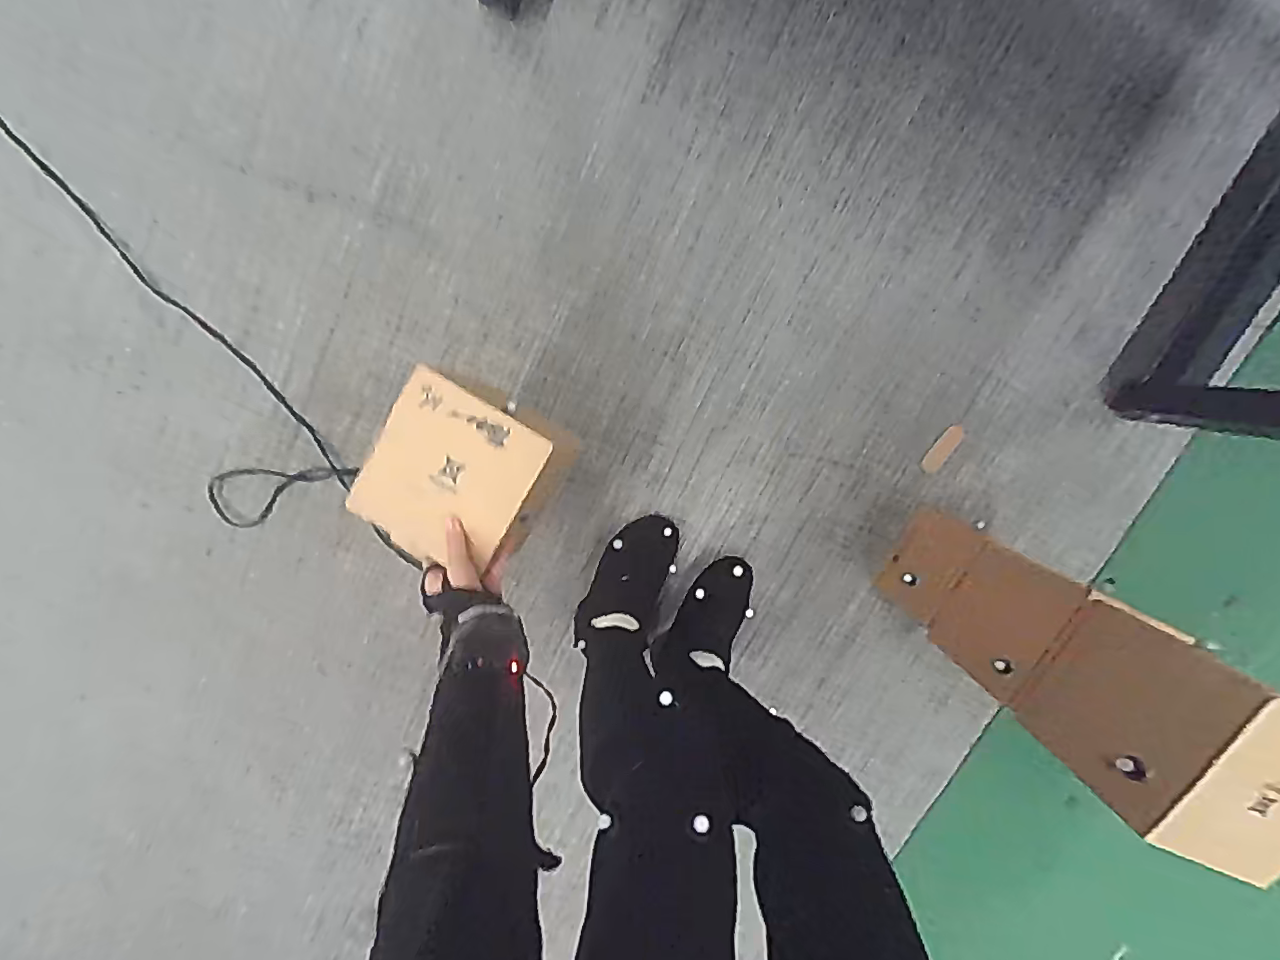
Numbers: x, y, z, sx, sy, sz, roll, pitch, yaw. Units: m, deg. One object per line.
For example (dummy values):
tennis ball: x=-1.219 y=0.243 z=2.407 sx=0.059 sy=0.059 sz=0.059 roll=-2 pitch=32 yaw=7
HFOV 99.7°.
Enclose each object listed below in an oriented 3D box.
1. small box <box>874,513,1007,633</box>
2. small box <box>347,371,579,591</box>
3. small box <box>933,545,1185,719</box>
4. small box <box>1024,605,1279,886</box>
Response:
small box: x=0.523 y=0.170 z=0.882 sx=0.179 sy=0.176 sz=0.168 roll=27 pitch=100 yaw=-11
small box: x=-0.189 y=-0.004 z=0.633 sx=0.168 sy=0.176 sz=0.179 roll=31 pitch=97 yaw=2
small box: x=0.540 y=0.212 z=0.727 sx=0.168 sy=0.176 sz=0.179 roll=24 pitch=102 yaw=-10
small box: x=0.561 y=0.267 z=0.572 sx=0.168 sy=0.176 sz=0.179 roll=25 pitch=101 yaw=-10
